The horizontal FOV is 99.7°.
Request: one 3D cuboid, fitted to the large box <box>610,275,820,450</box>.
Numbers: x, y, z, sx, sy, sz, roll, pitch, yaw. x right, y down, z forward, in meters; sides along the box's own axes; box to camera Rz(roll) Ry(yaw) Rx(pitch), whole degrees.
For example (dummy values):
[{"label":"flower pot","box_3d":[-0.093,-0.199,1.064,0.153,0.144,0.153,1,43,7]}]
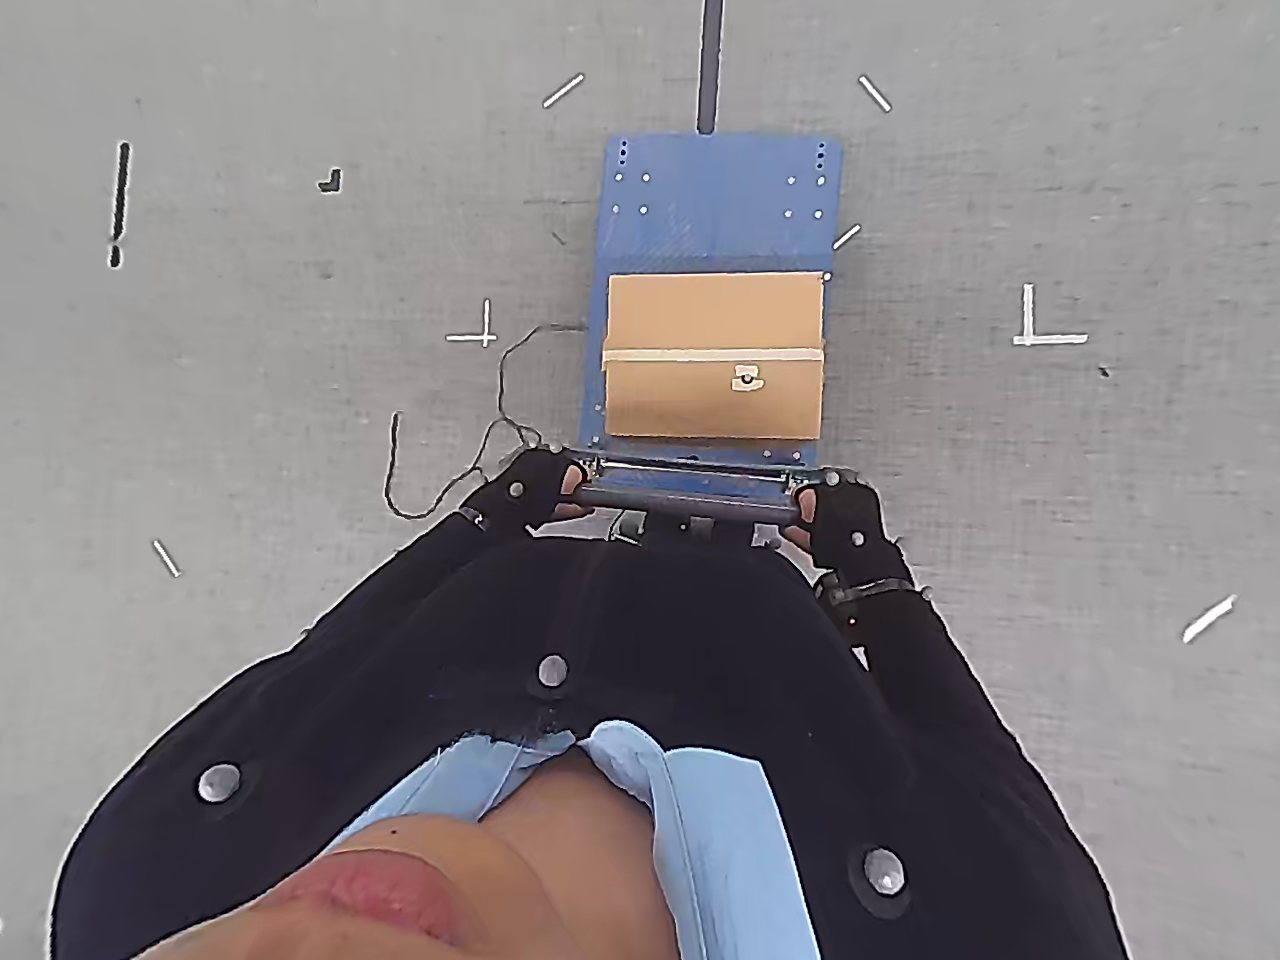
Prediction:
[{"label":"large box","box_3d":[0.152,-0.233,1.183,0.408,0.320,0.320,1,90,6]}]
